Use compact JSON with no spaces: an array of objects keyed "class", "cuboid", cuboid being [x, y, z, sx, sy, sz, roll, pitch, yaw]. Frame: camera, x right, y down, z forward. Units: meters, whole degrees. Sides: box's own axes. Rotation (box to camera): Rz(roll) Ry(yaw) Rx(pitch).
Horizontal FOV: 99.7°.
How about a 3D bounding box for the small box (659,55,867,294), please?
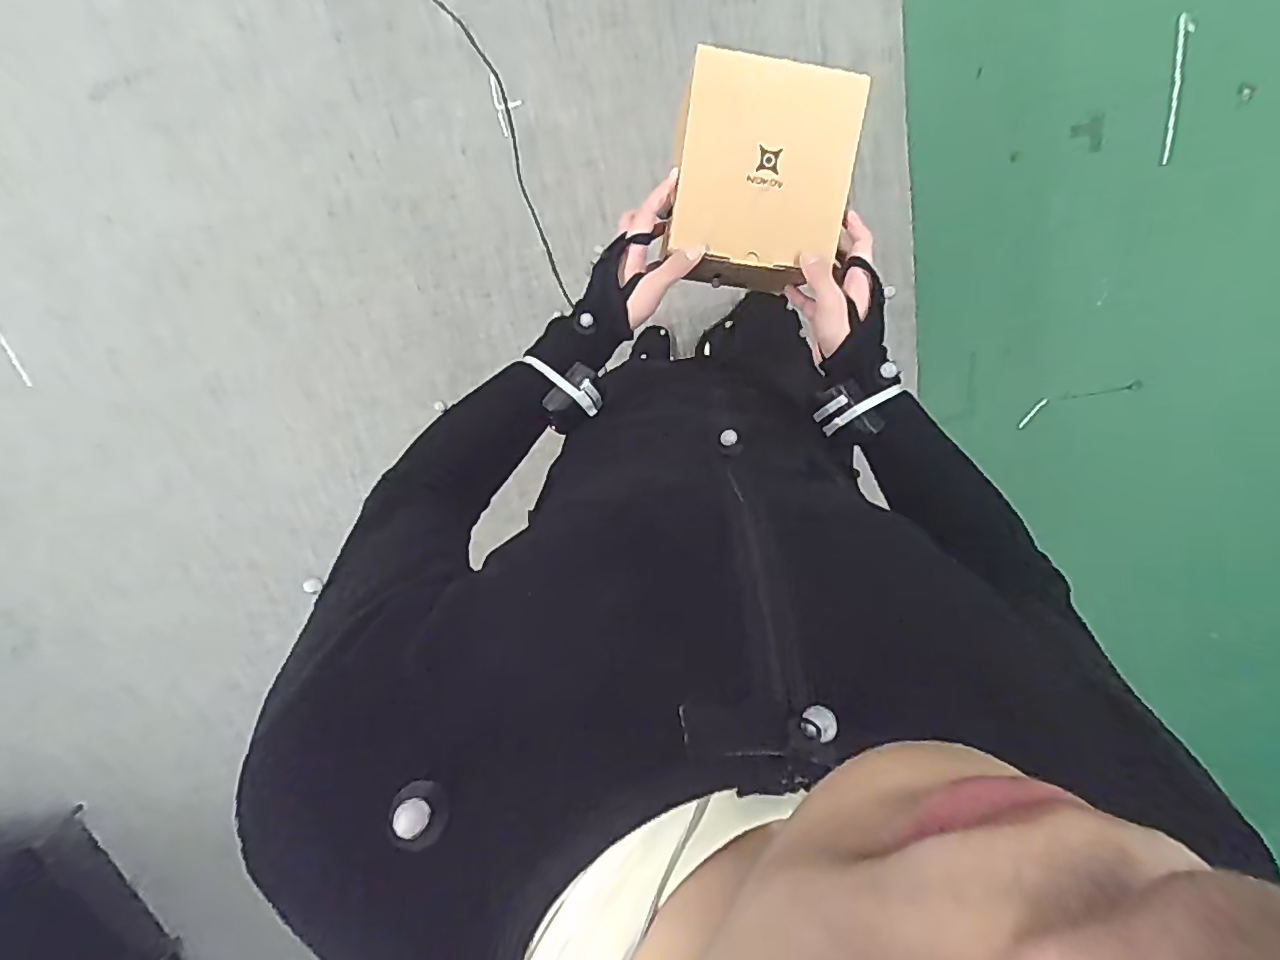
[{"class":"small box","cuboid":[0.117,-0.312,0.593,0.168,0.176,0.179,6,104,-5]}]
